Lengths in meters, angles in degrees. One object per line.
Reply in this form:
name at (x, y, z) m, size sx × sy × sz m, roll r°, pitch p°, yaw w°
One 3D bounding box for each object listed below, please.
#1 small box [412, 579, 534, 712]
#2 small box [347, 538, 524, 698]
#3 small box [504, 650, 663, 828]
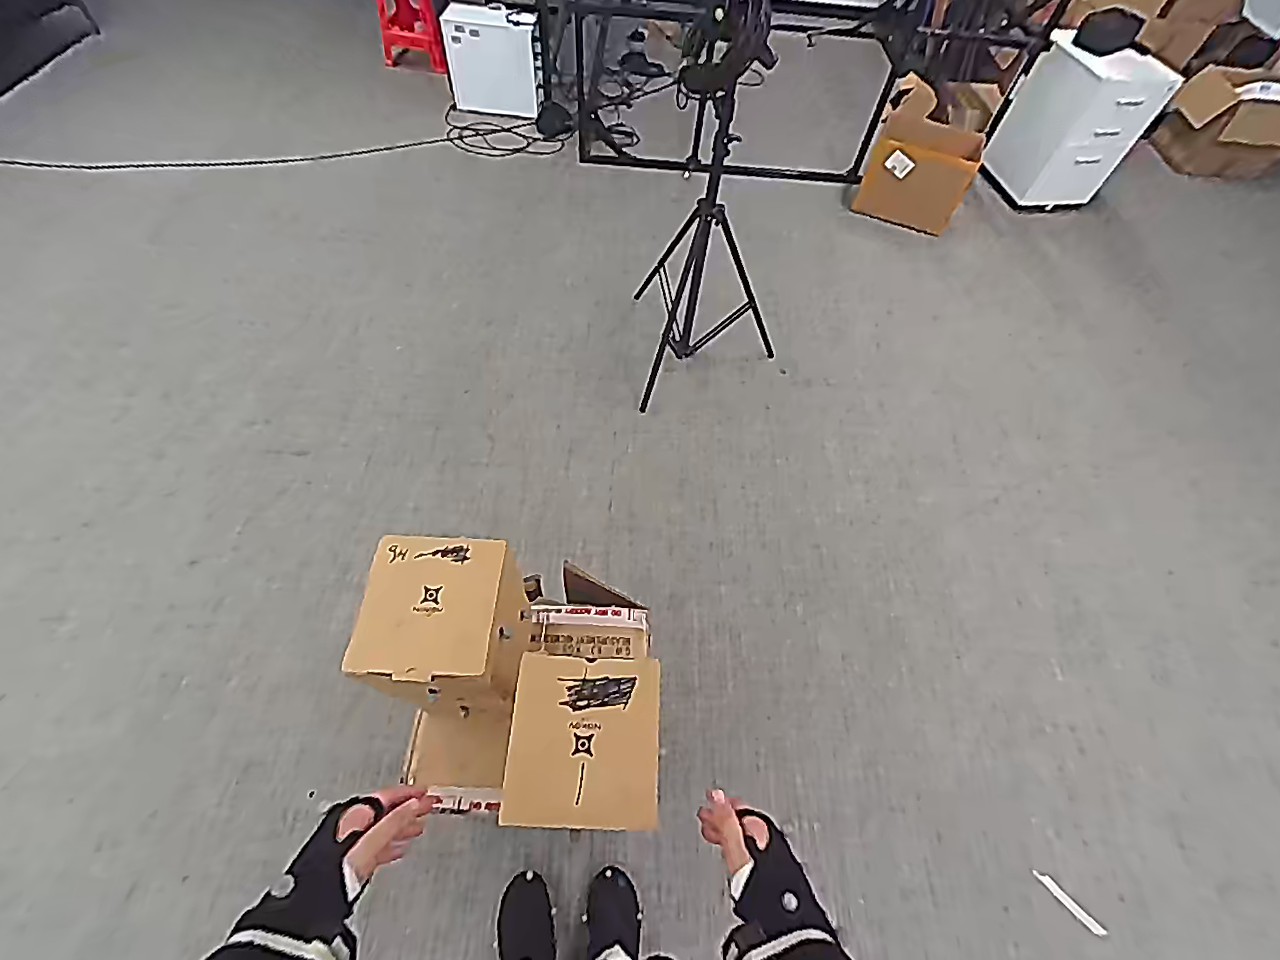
small box at (-0.270, 0.270, 0.879) m, size 0.168 × 0.176 × 0.179 m, roll 1°, pitch 59°, yaw -2°
small box at (-0.258, 0.193, 0.734) m, size 0.168 × 0.176 × 0.179 m, roll 2°, pitch 60°, yaw -1°
small box at (-0.062, 0.323, 0.671) m, size 0.168 × 0.176 × 0.179 m, roll 3°, pitch 60°, yaw -2°
